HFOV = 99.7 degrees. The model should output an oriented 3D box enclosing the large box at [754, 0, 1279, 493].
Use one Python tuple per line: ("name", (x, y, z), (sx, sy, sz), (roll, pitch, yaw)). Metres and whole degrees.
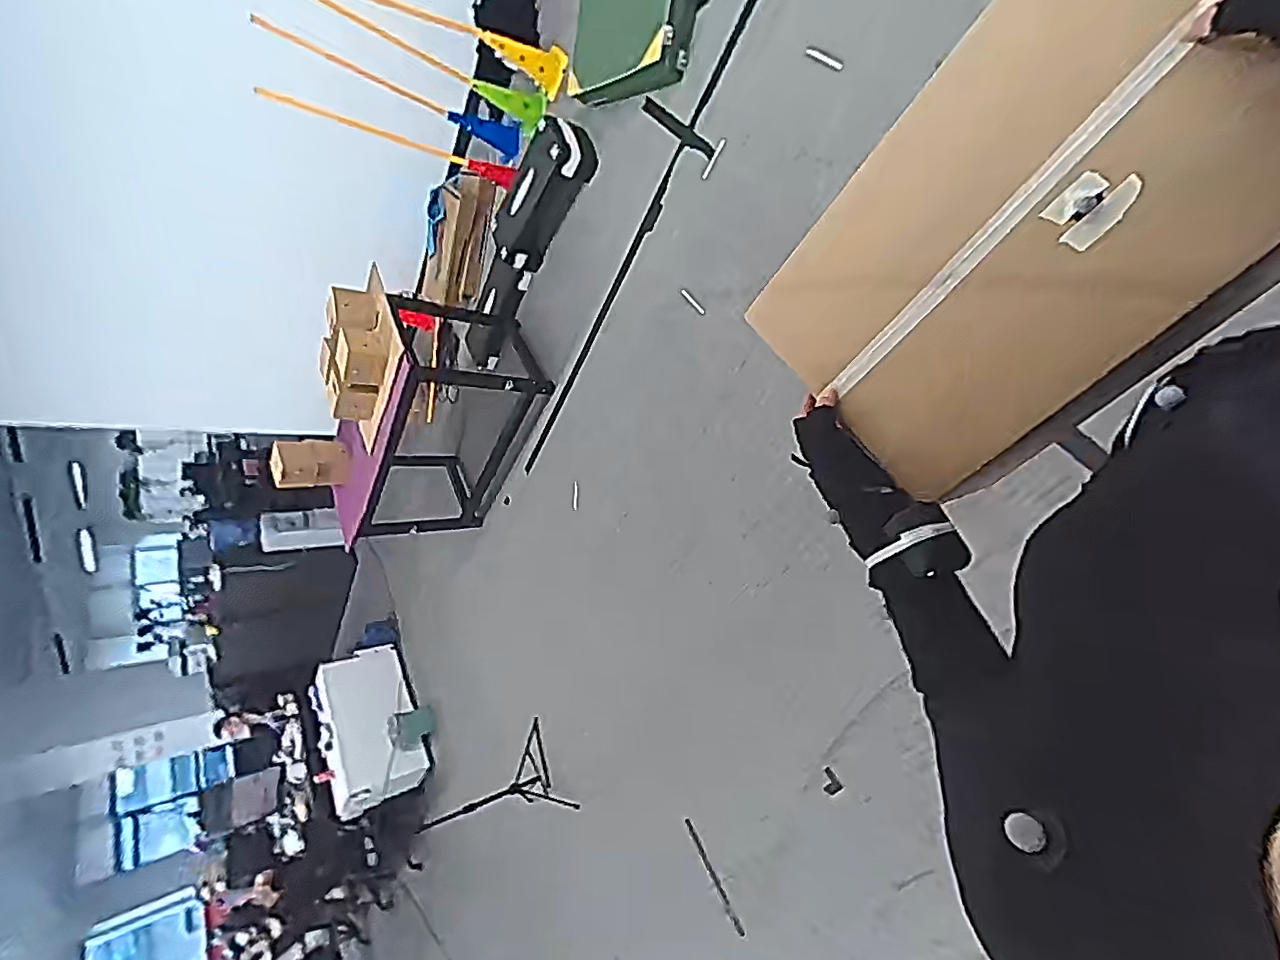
("large box", (0.422, -0.232, 0.628), (0.408, 0.320, 0.320), (-50, 62, 33))
